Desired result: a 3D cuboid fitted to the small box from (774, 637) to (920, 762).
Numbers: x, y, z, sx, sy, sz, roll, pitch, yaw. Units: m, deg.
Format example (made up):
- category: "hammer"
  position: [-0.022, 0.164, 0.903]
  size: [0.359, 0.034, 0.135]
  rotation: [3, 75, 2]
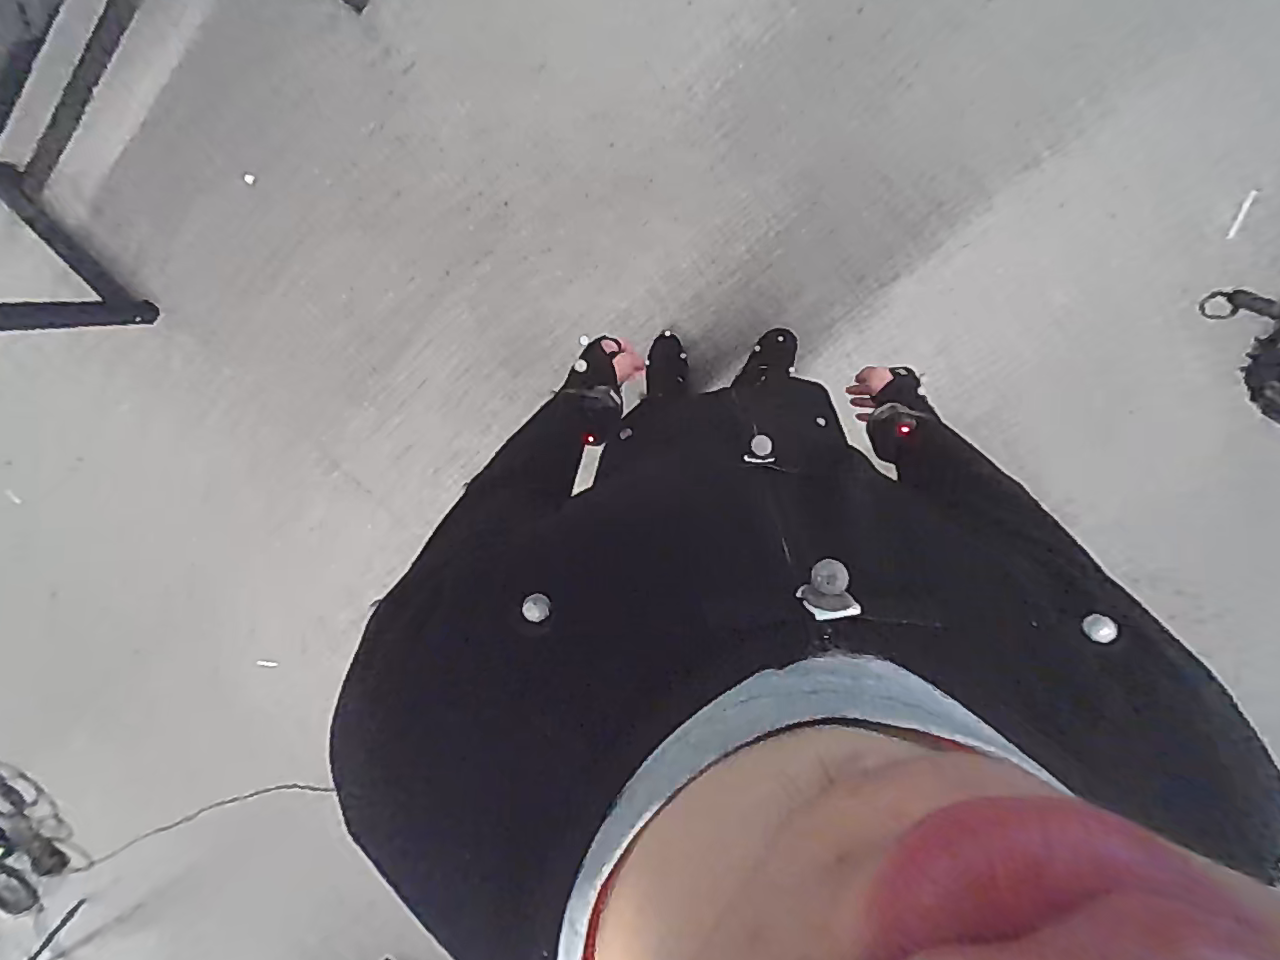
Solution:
- category: "small box"
  position: [0.366, 0.426, 0.989]
  size: [0.168, 0.176, 0.179]
  rotation: [-41, 99, 20]
